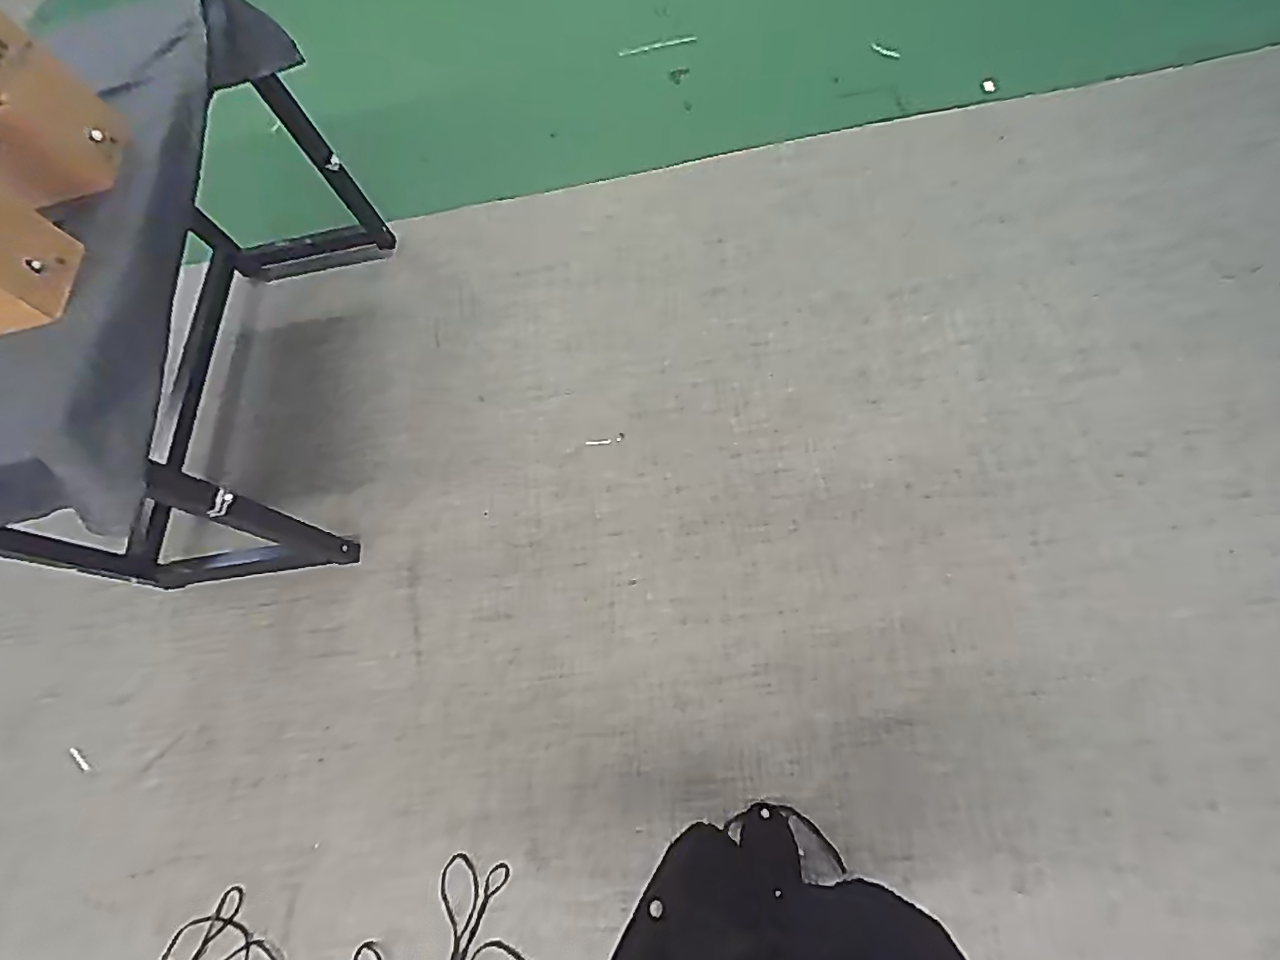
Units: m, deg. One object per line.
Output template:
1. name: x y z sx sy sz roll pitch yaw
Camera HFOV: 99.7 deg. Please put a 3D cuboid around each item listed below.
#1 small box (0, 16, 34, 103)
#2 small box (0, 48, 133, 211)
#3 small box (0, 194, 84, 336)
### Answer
1. small box: -1.104 -0.670 0.813 0.179 0.176 0.168 -8 68 6
2. small box: -1.079 -0.612 0.963 0.179 0.176 0.168 -10 67 6
3. small box: -1.055 -0.337 0.847 0.179 0.176 0.168 -11 66 4
